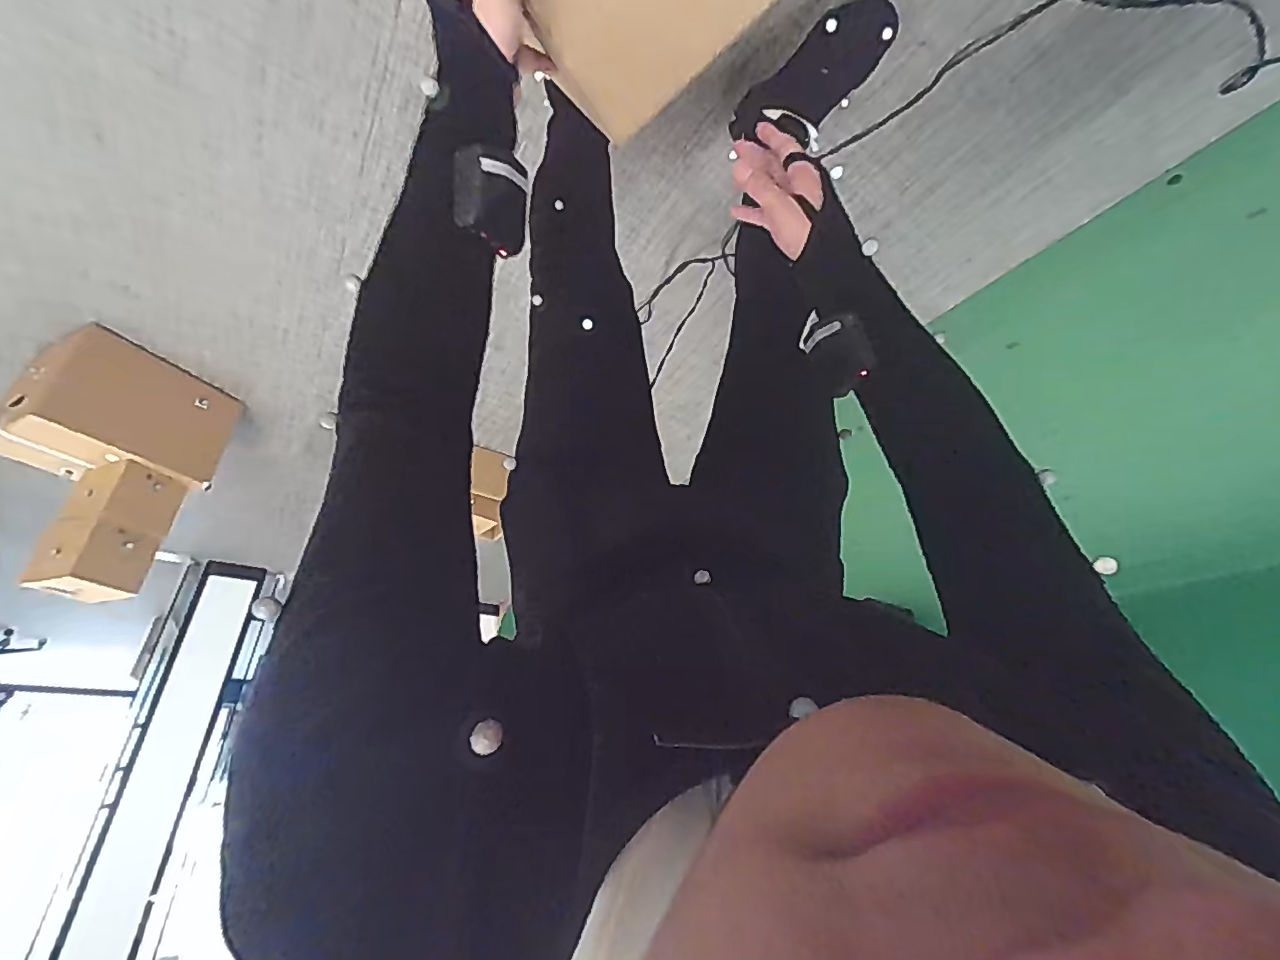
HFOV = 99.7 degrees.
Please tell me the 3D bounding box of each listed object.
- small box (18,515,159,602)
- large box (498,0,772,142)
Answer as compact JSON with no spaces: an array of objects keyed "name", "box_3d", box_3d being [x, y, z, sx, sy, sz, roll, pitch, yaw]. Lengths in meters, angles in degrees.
[{"name":"small box","box_3d":[-1.425,0.206,1.412,0.179,0.176,0.168,-9,150,12]},{"name":"large box","box_3d":[0.004,-0.593,0.447,0.408,0.320,0.320,-38,136,15]}]
